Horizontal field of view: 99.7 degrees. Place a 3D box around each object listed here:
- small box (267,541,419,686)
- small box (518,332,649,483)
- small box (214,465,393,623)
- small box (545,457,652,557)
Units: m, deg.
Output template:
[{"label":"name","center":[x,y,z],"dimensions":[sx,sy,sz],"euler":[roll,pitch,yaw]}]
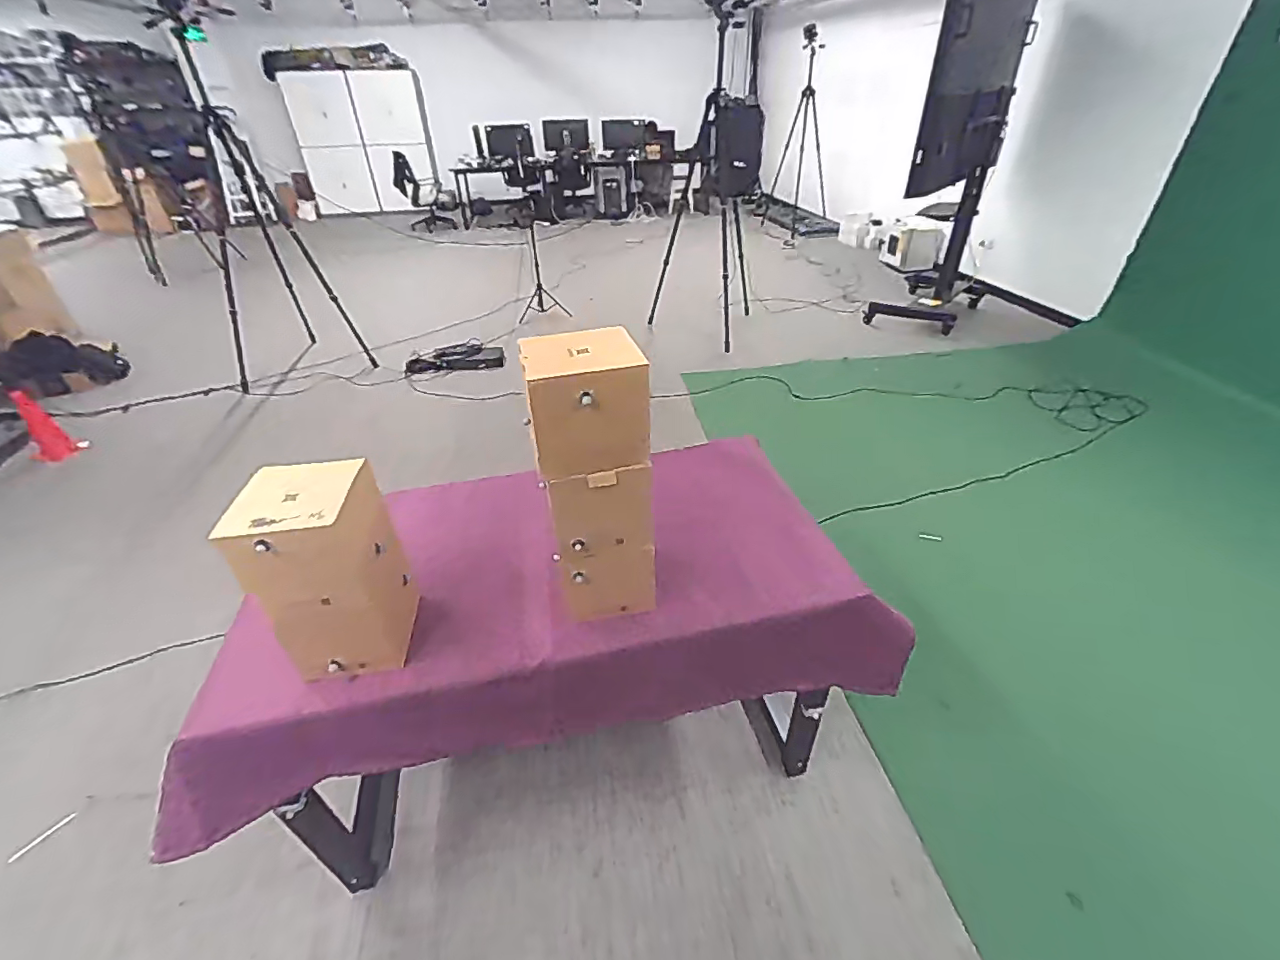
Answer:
[{"label":"small box","center":[-0.506,0.233,0.956],"dimensions":[0.168,0.176,0.179],"euler":[-7,36,-5]},{"label":"small box","center":[-0.088,-0.116,0.856],"dimensions":[0.179,0.176,0.168],"euler":[-11,35,-10]},{"label":"small box","center":[-0.513,0.098,0.860],"dimensions":[0.168,0.176,0.179],"euler":[-8,34,-4]},{"label":"small box","center":[-0.078,0.018,0.948],"dimensions":[0.168,0.176,0.179],"euler":[-10,34,-10]}]
